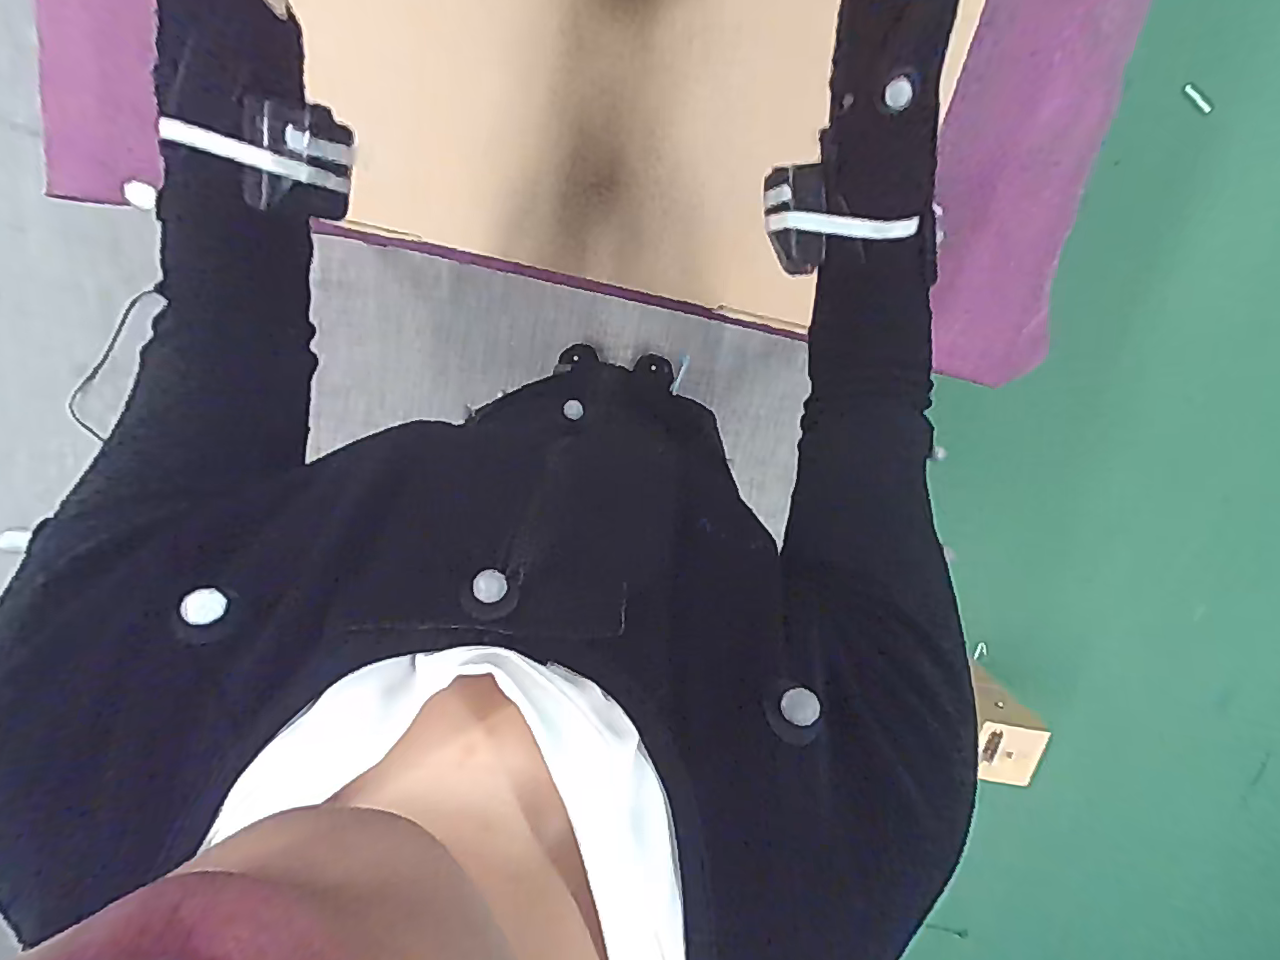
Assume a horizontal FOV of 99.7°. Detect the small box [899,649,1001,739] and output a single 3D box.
[{"bbox_3d":[0.895,0.616,1.579,0.179,0.176,0.168,12,105,-4],"label":"small box"}]
